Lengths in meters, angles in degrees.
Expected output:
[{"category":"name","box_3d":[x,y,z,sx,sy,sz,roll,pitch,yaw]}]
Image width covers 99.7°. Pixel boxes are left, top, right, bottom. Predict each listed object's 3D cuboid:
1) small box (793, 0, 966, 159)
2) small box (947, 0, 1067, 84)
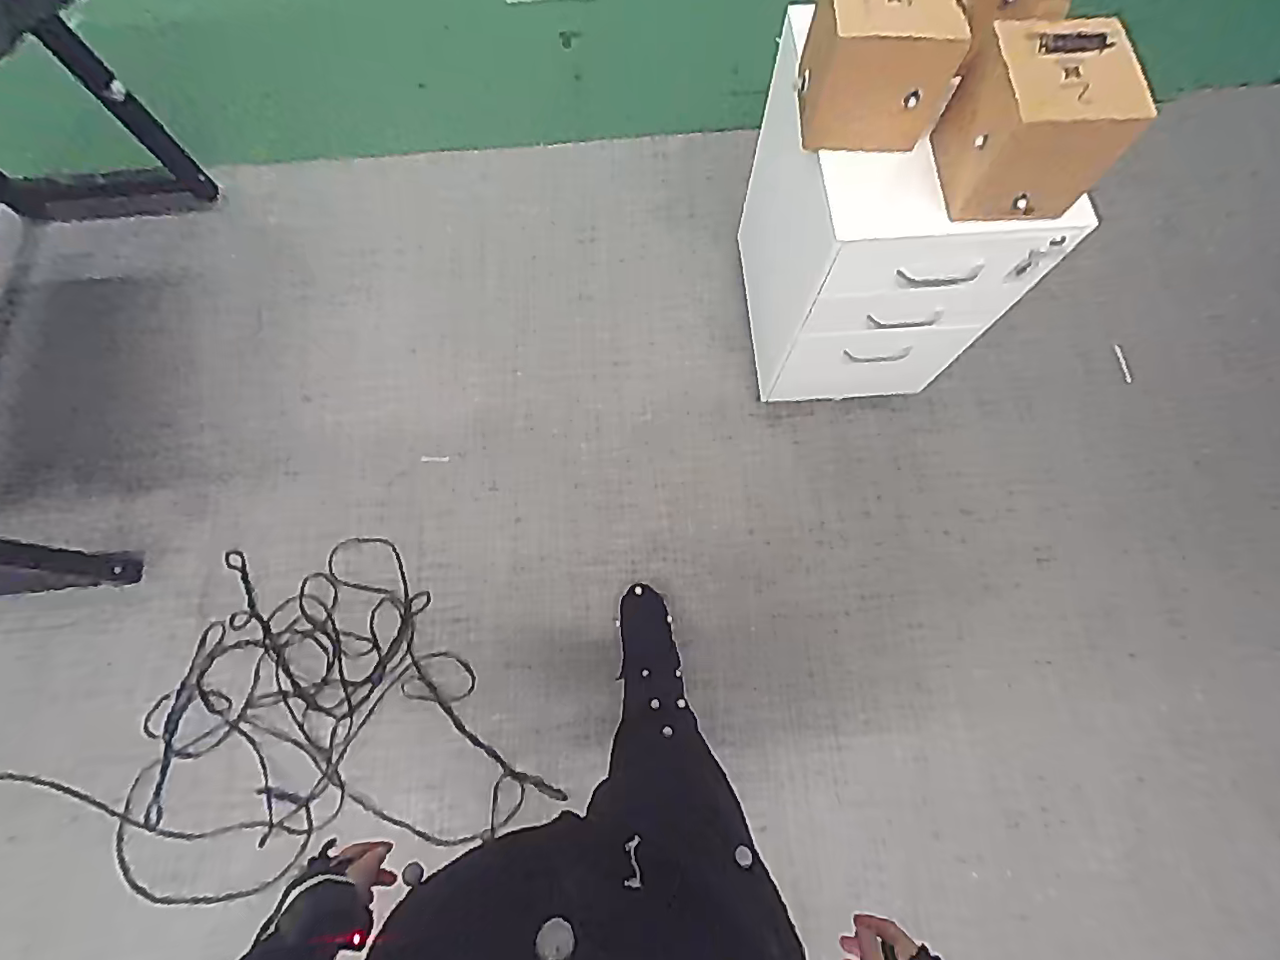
[{"category":"small box","box_3d":[0.341,-0.610,0.806,0.179,0.176,0.168,1,70,0]},{"category":"small box","box_3d":[0.541,-0.764,0.855,0.179,0.176,0.168,-1,73,1]}]
